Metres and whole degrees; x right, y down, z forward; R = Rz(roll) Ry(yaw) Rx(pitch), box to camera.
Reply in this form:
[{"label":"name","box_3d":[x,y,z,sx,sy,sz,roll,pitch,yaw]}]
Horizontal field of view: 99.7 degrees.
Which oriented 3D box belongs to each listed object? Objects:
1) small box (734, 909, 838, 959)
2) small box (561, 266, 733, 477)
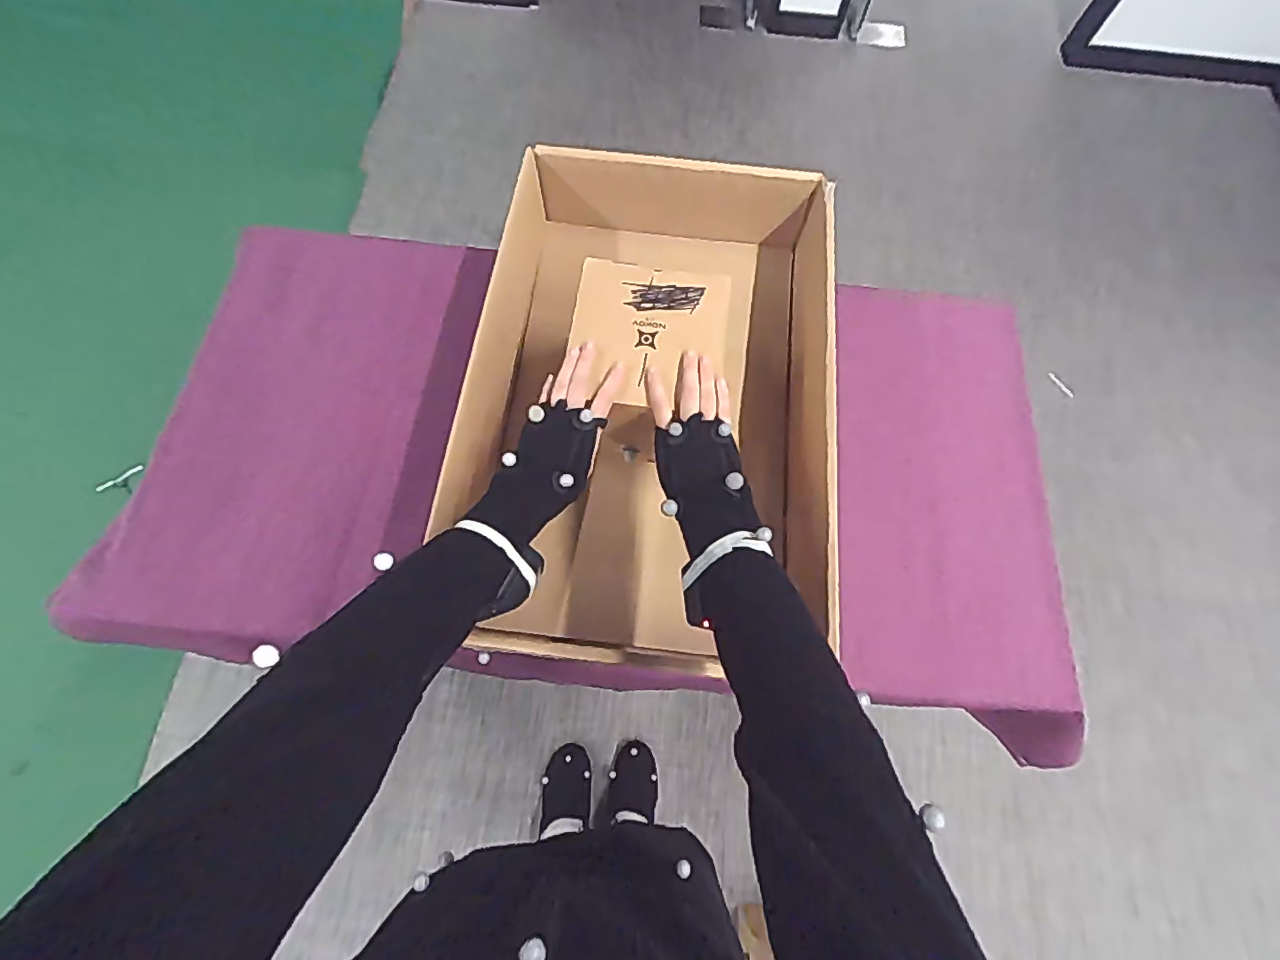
[{"label":"small box","box_3d":[0.289,0.993,1.085,0.179,0.176,0.168,1,70,-2]},{"label":"small box","box_3d":[0.009,-0.121,0.648,0.168,0.176,0.179,8,72,2]}]
